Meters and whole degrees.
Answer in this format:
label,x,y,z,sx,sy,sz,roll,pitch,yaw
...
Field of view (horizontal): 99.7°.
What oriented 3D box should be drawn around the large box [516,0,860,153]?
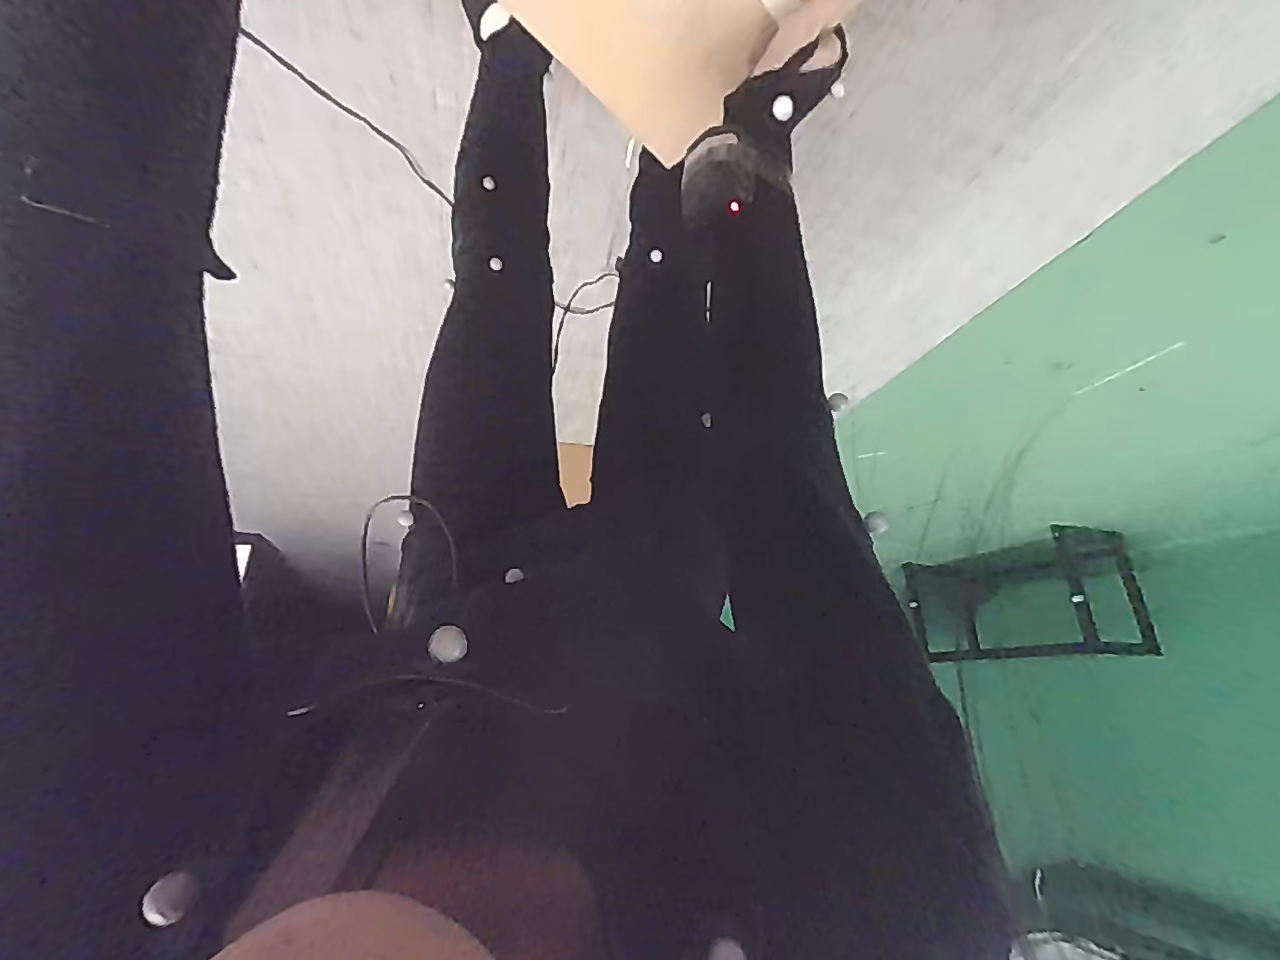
label,x,y,z,sx,sy,sz,roll,pitch,yaw
large box,0.002,-0.543,0.349,0.320,0.320,0.408,-18,151,41
